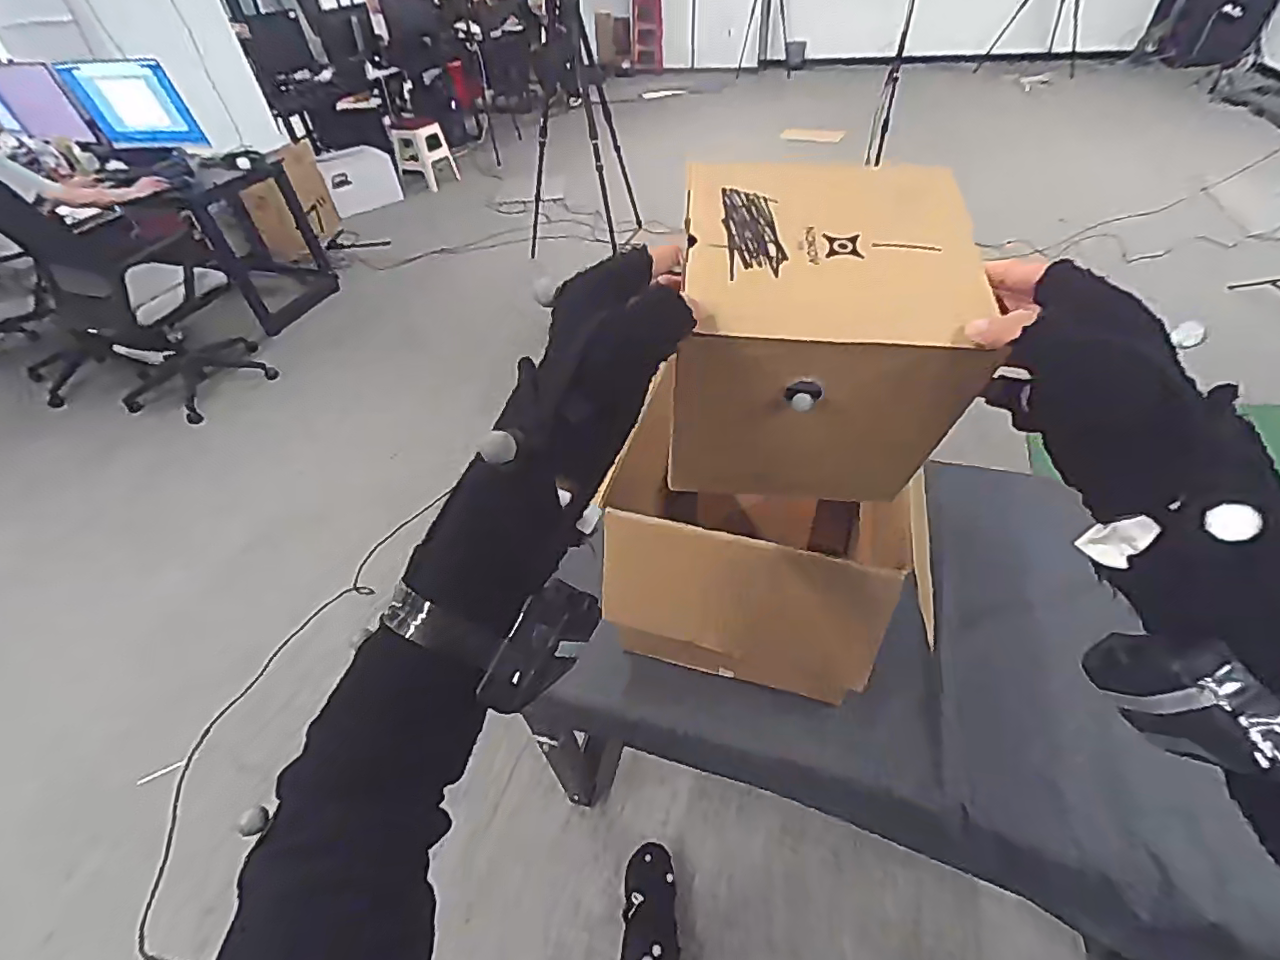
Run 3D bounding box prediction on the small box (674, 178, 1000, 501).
[{"bbox_3d":[0.117,-0.096,0.404,0.179,0.176,0.168,4,59,3],"label":"small box"}]
